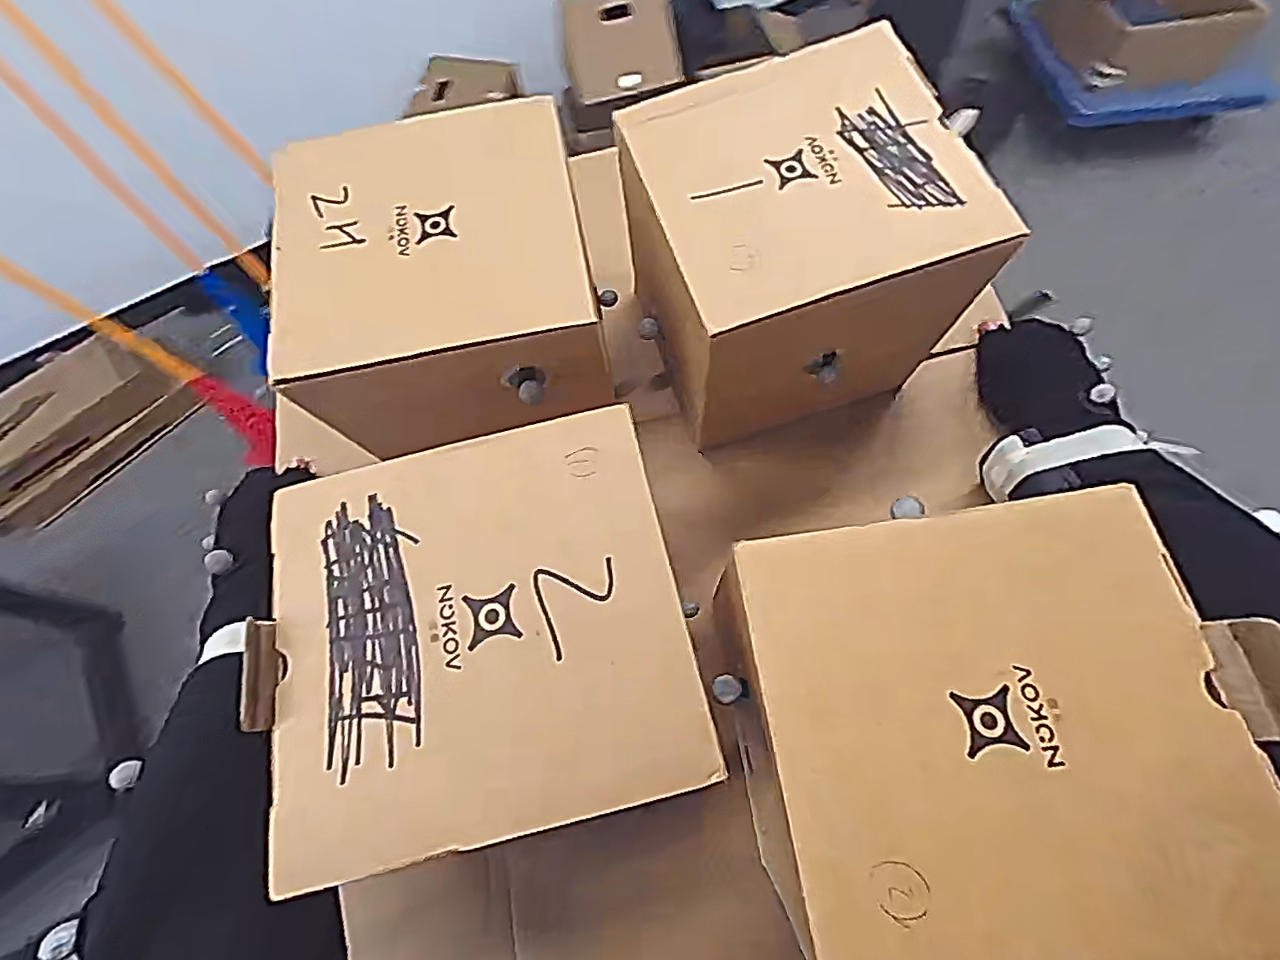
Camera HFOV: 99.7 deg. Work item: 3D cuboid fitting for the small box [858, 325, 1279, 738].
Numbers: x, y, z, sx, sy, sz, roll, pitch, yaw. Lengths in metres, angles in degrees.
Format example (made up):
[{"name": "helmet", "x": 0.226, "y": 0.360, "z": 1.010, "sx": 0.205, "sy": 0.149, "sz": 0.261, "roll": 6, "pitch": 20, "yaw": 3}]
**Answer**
[{"name": "small box", "x": 0.232, "y": 0.032, "z": 0.290, "sx": 0.179, "sy": 0.176, "sz": 0.168, "roll": 4, "pitch": 76, "yaw": 5}]
